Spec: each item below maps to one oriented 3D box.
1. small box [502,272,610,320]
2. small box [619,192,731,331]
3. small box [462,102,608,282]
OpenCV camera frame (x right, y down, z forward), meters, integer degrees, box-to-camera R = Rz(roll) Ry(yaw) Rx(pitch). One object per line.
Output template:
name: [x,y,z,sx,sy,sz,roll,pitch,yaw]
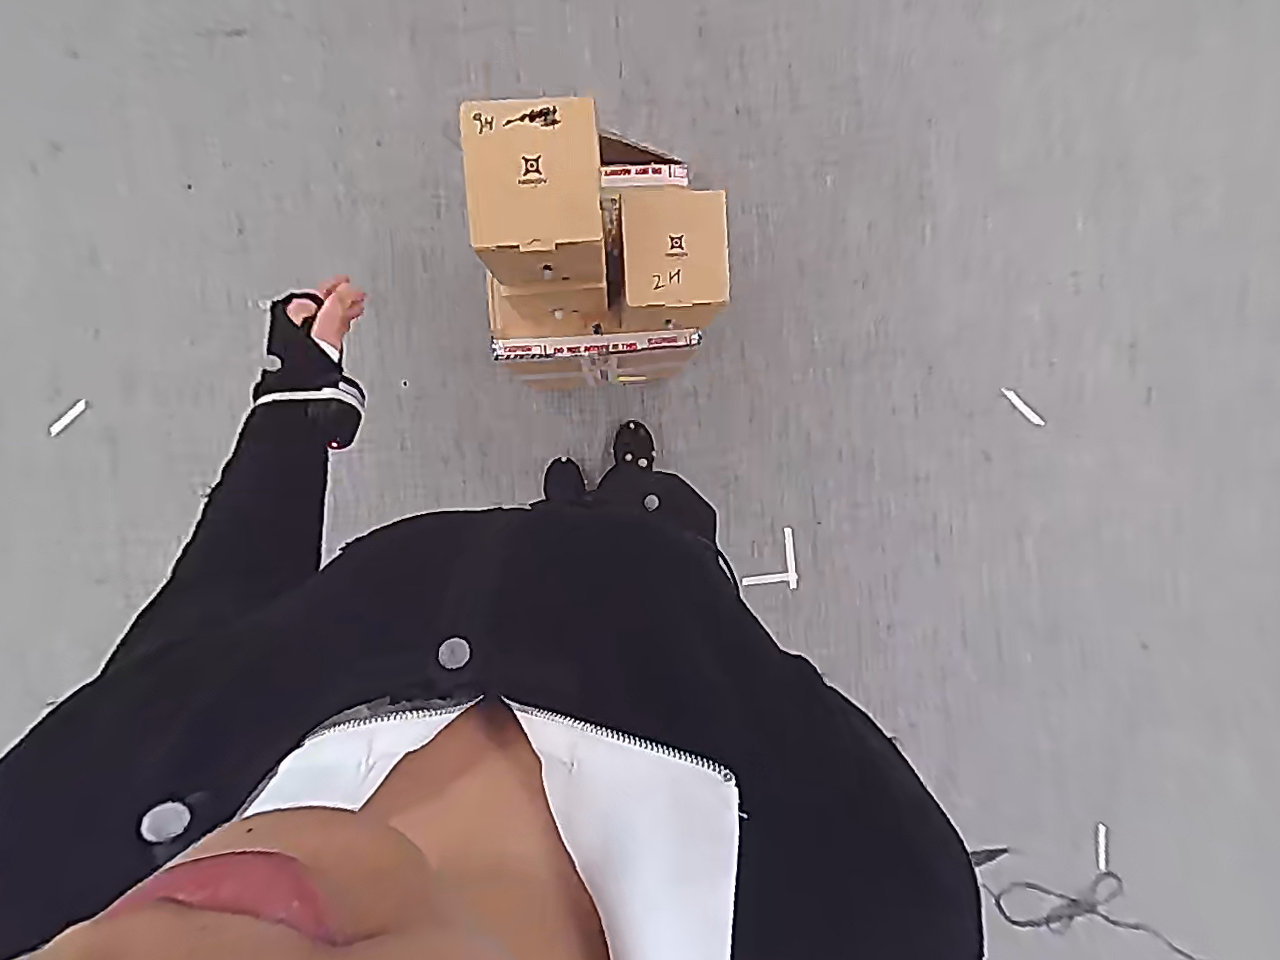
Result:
small box: [-0.141,-0.380,0.911,0.168,0.176,0.179,-6,96,-1]
small box: [0.052,-0.363,0.922,0.168,0.176,0.179,-4,94,-4]
small box: [-0.133,-0.380,0.747,0.168,0.176,0.179,-4,96,-1]
